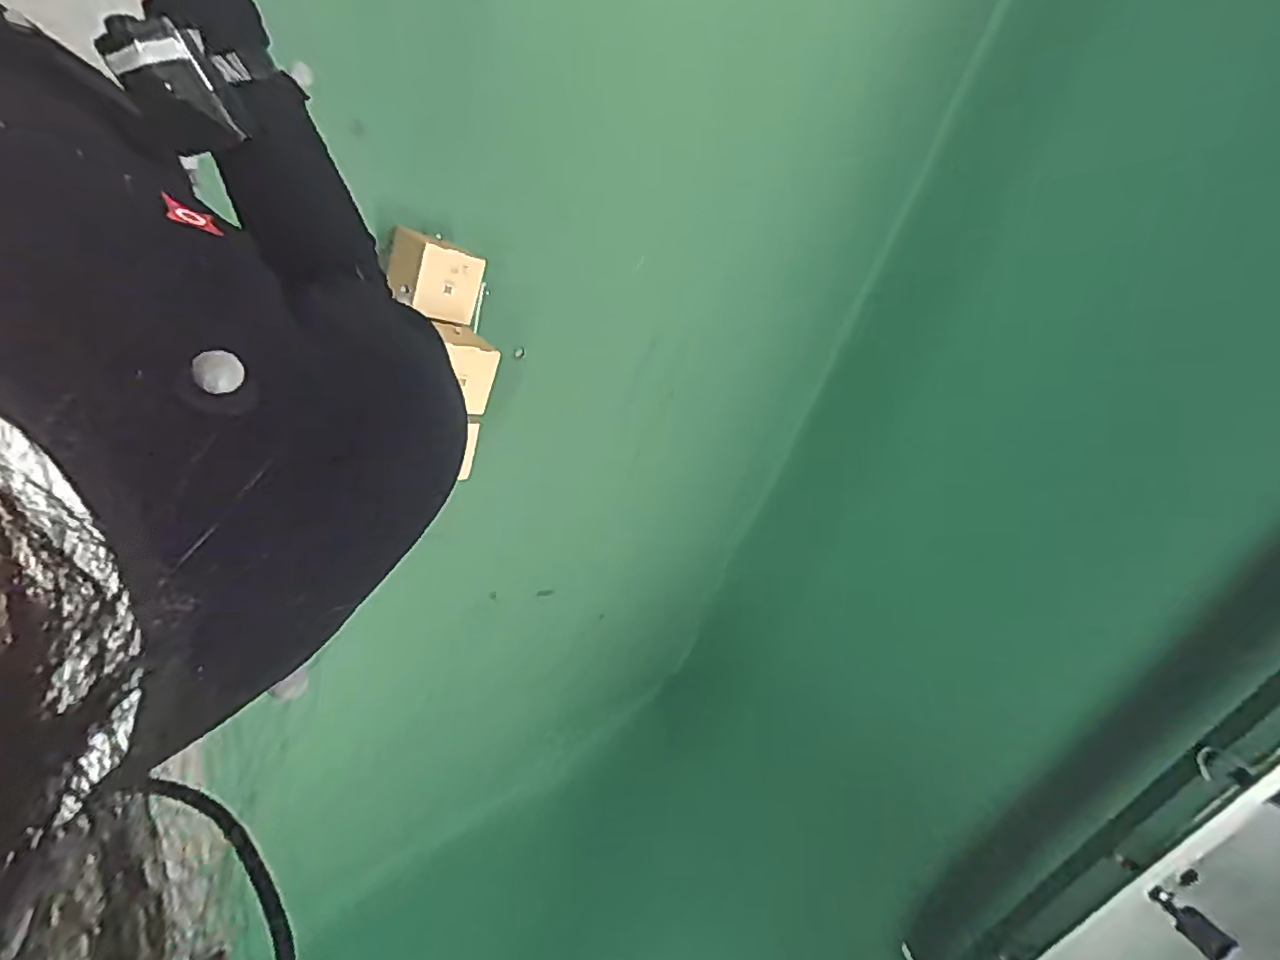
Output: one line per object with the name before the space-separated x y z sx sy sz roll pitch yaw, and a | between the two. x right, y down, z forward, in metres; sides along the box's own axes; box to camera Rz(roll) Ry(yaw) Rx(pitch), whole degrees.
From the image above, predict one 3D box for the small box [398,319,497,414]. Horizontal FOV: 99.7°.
small box | -0.497 -0.289 1.381 0.168 0.176 0.179 -1 120 -49
